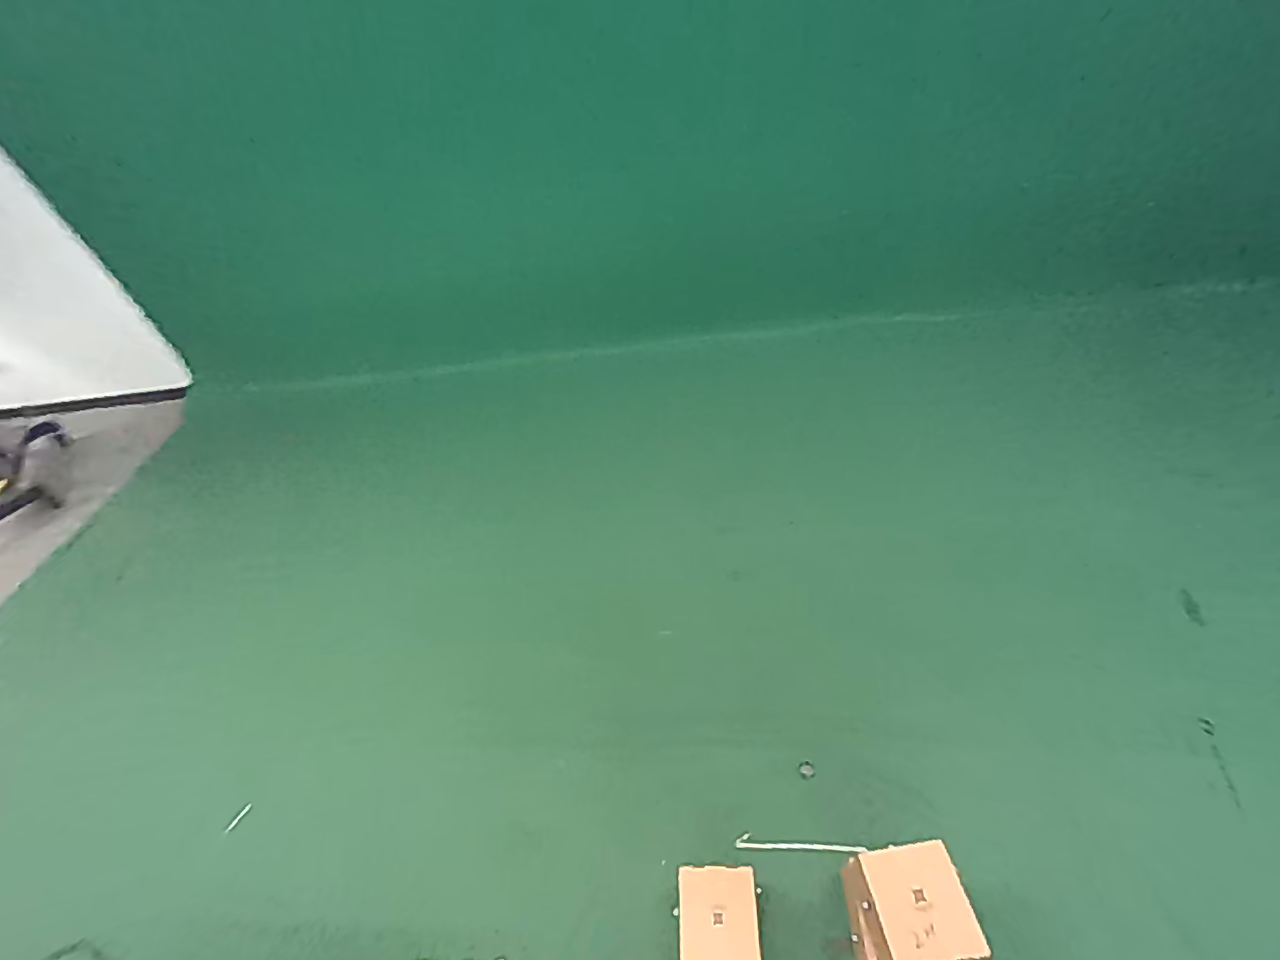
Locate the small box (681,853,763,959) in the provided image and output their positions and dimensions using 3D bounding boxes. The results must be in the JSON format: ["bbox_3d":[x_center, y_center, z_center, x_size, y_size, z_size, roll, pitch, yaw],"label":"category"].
[{"bbox_3d":[0.184,0.963,1.217,0.168,0.176,0.179,-5,45,9],"label":"small box"}]

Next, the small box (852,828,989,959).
[{"bbox_3d":[0.528,0.807,1.051,0.168,0.176,0.179,-11,47,3],"label":"small box"}]
